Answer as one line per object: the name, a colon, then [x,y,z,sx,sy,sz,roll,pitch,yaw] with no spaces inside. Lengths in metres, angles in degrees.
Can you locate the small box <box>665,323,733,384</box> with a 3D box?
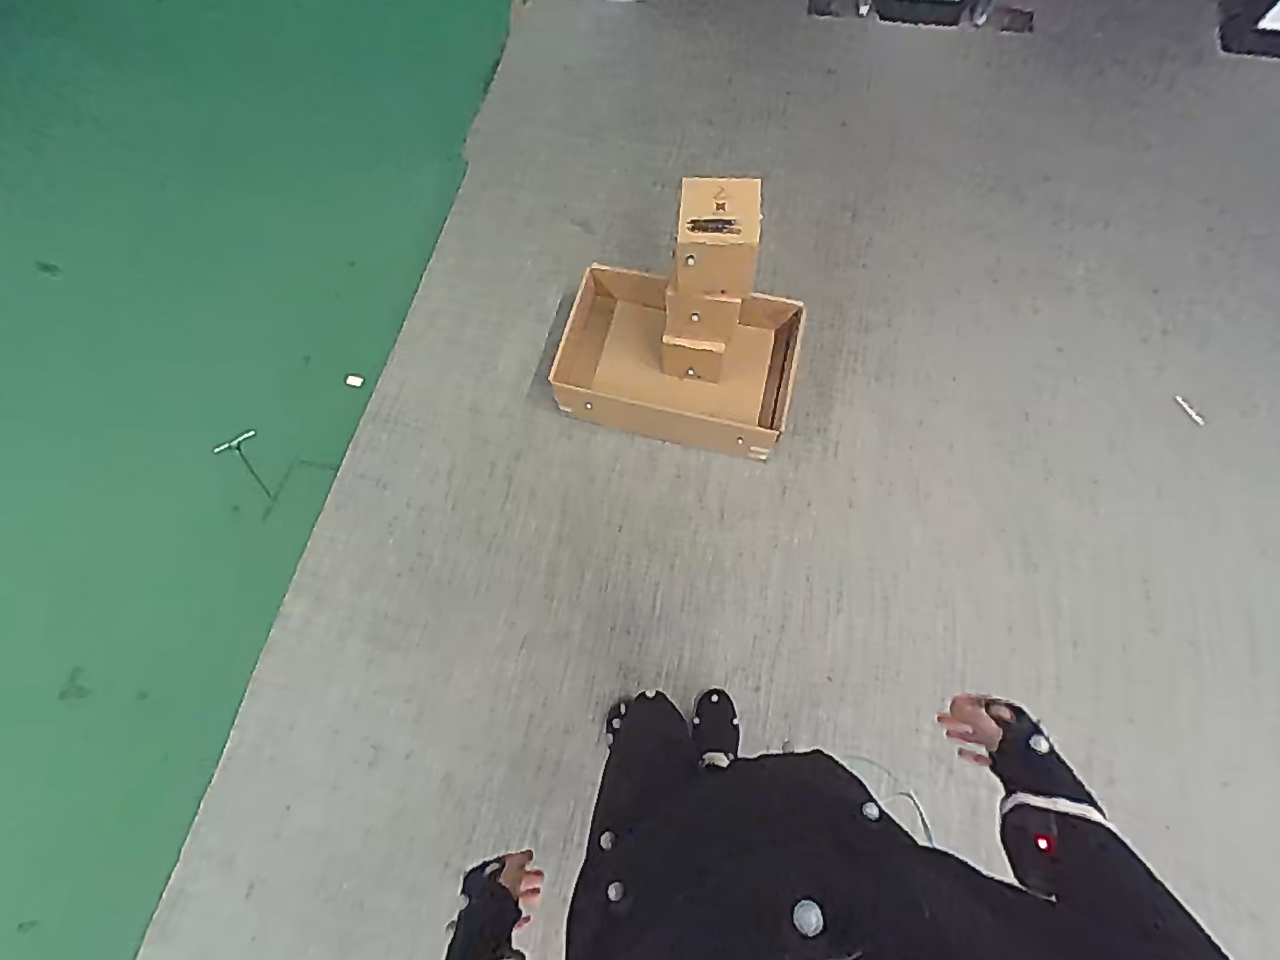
small box: [0.169,-0.391,1.483,0.168,0.176,0.179,12,73,10]

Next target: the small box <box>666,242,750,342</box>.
small box: [0.168,-0.458,1.333,0.179,0.176,0.168,8,72,9]
